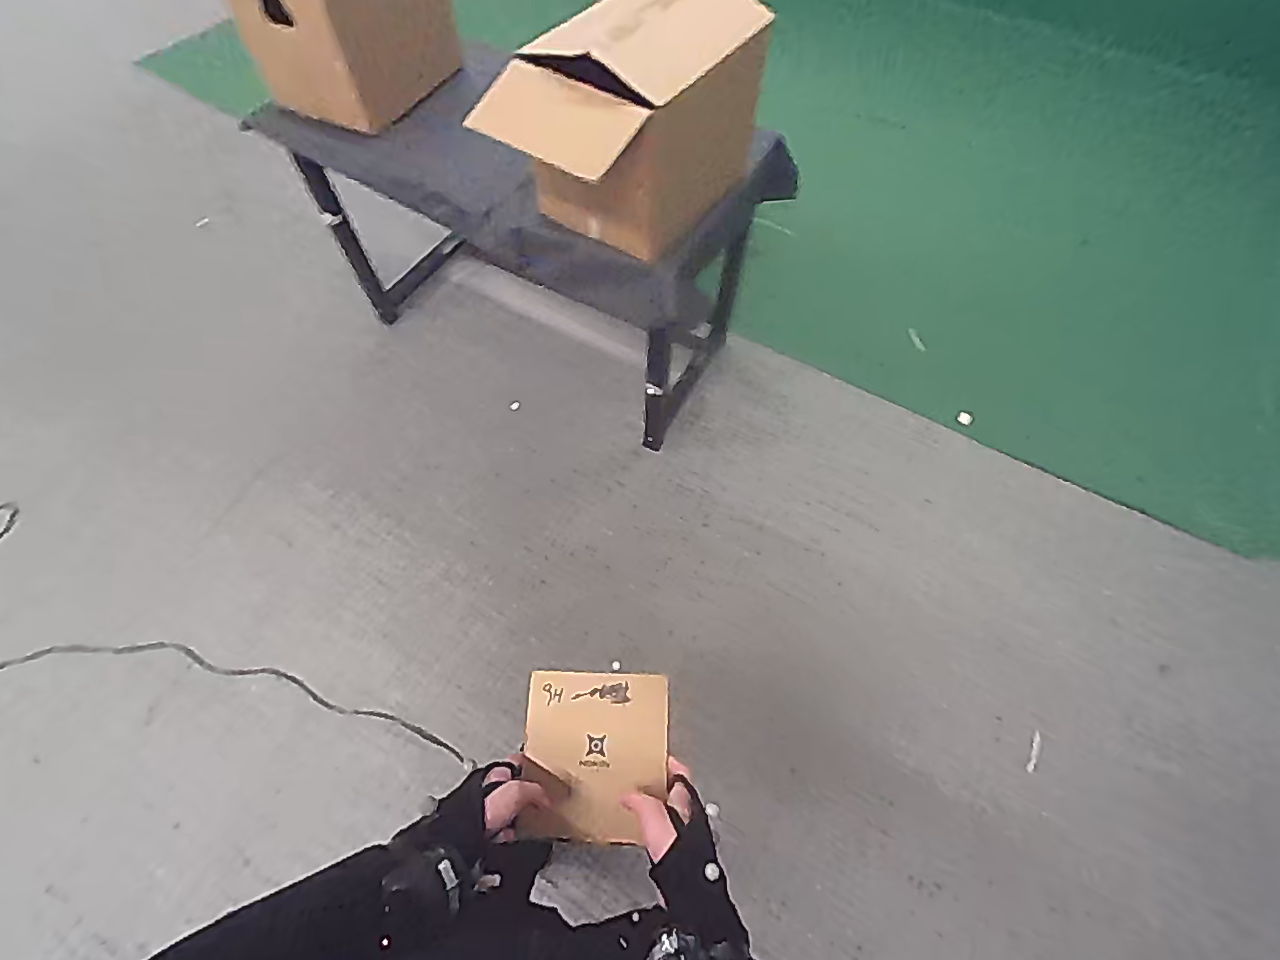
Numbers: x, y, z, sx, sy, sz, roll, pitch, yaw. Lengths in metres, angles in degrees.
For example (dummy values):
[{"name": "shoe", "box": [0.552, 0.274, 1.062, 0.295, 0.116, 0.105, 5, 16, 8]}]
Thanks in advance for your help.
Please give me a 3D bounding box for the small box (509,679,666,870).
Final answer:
[{"name": "small box", "box": [-0.053, 0.346, 0.669, 0.168, 0.176, 0.179, -1, 73, 4]}]
